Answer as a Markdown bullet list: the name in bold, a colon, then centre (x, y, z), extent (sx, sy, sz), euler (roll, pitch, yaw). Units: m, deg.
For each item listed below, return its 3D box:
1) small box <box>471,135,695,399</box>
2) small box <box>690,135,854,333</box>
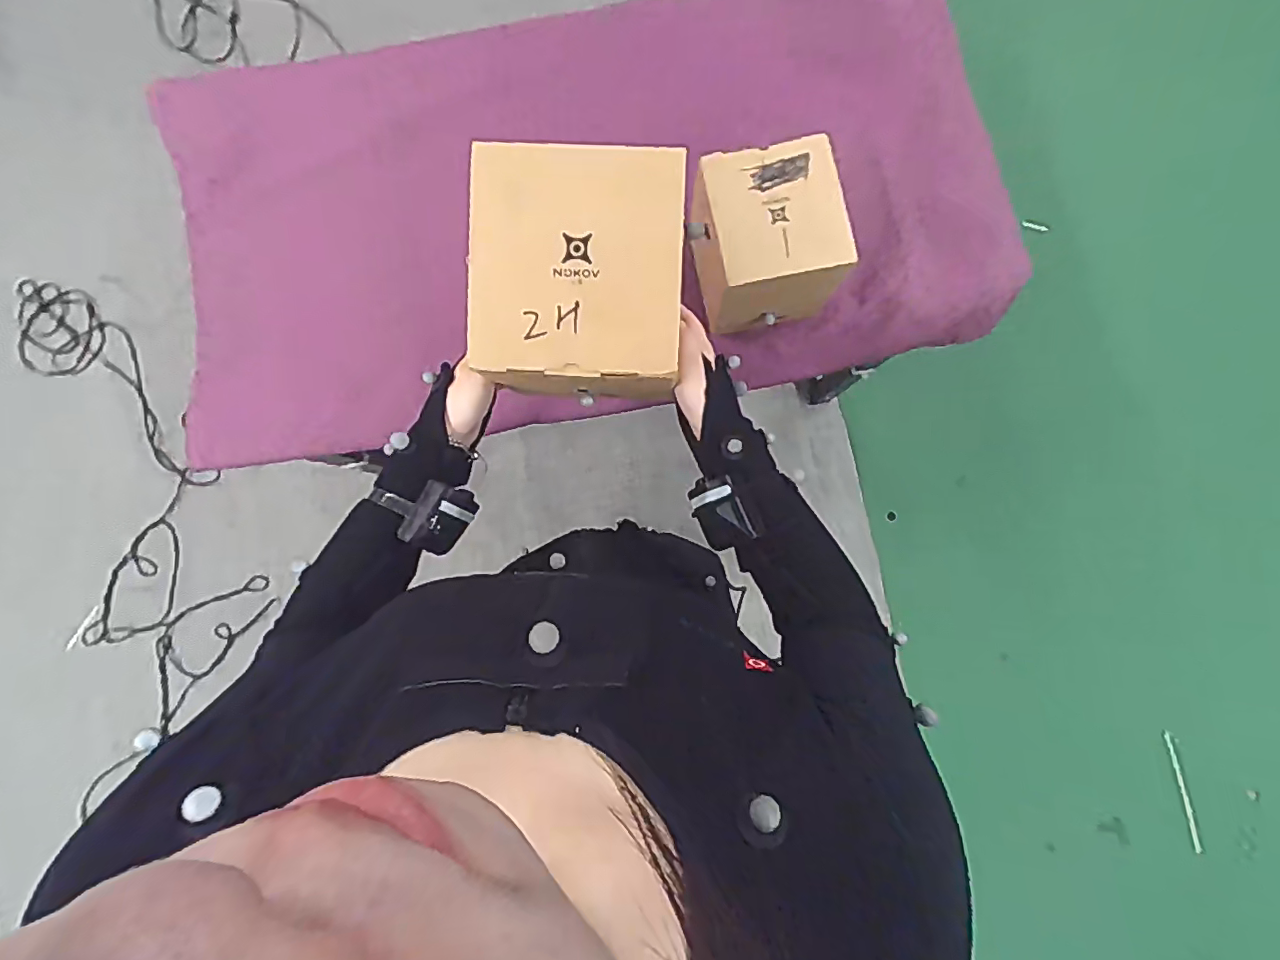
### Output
- **small box**: centre (-0.044, -0.175, 0.493), extent (0.168, 0.176, 0.179), euler (3, 93, 1)
- **small box**: centre (0.168, -0.328, 0.750), extent (0.168, 0.176, 0.179), euler (-12, 85, -1)
